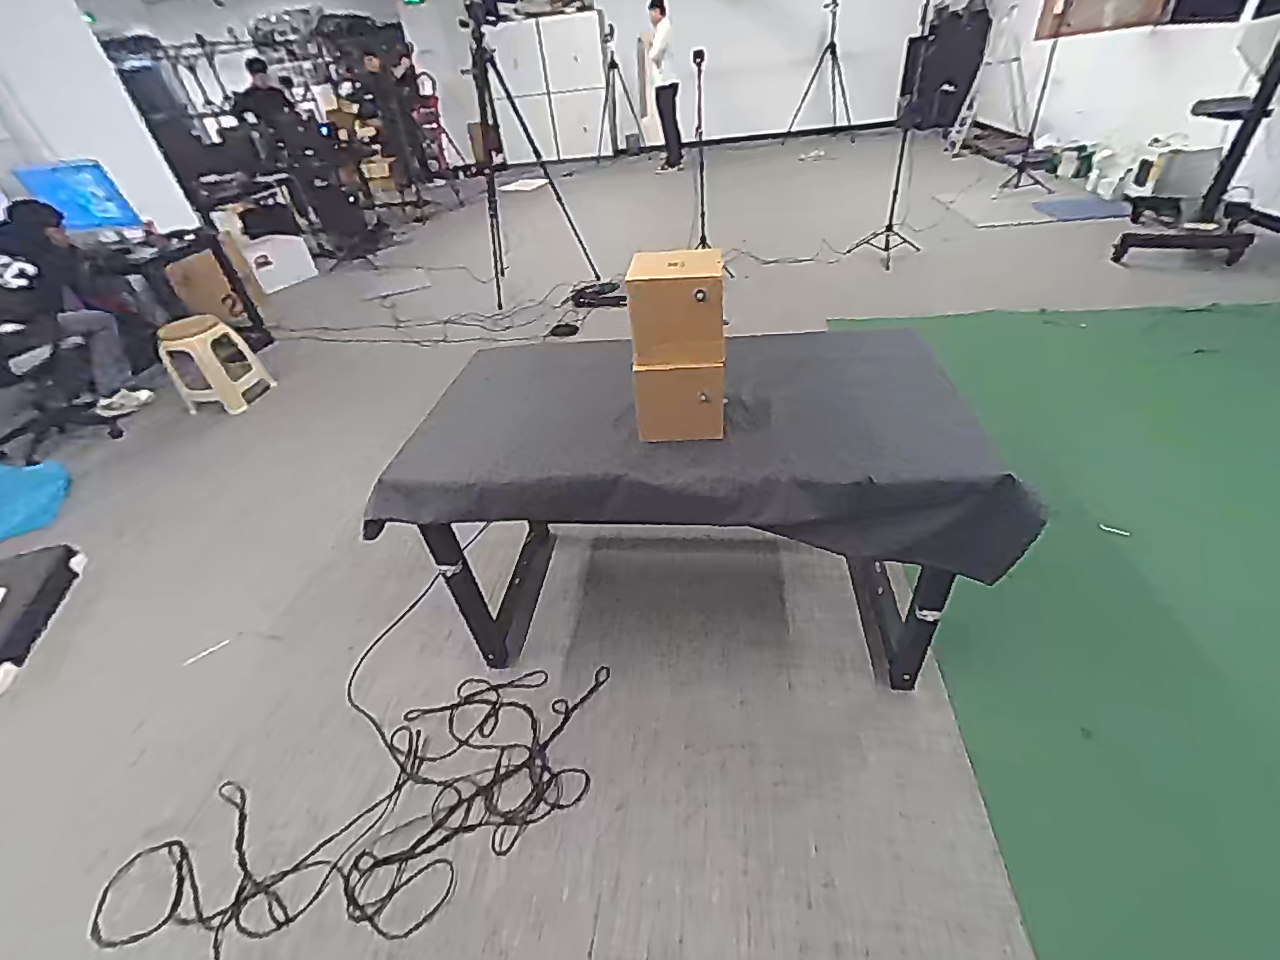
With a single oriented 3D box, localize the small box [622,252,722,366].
[{"bbox_3d":[0.070,-0.330,1.052,0.179,0.176,0.168,0,38,8],"label":"small box"}]
